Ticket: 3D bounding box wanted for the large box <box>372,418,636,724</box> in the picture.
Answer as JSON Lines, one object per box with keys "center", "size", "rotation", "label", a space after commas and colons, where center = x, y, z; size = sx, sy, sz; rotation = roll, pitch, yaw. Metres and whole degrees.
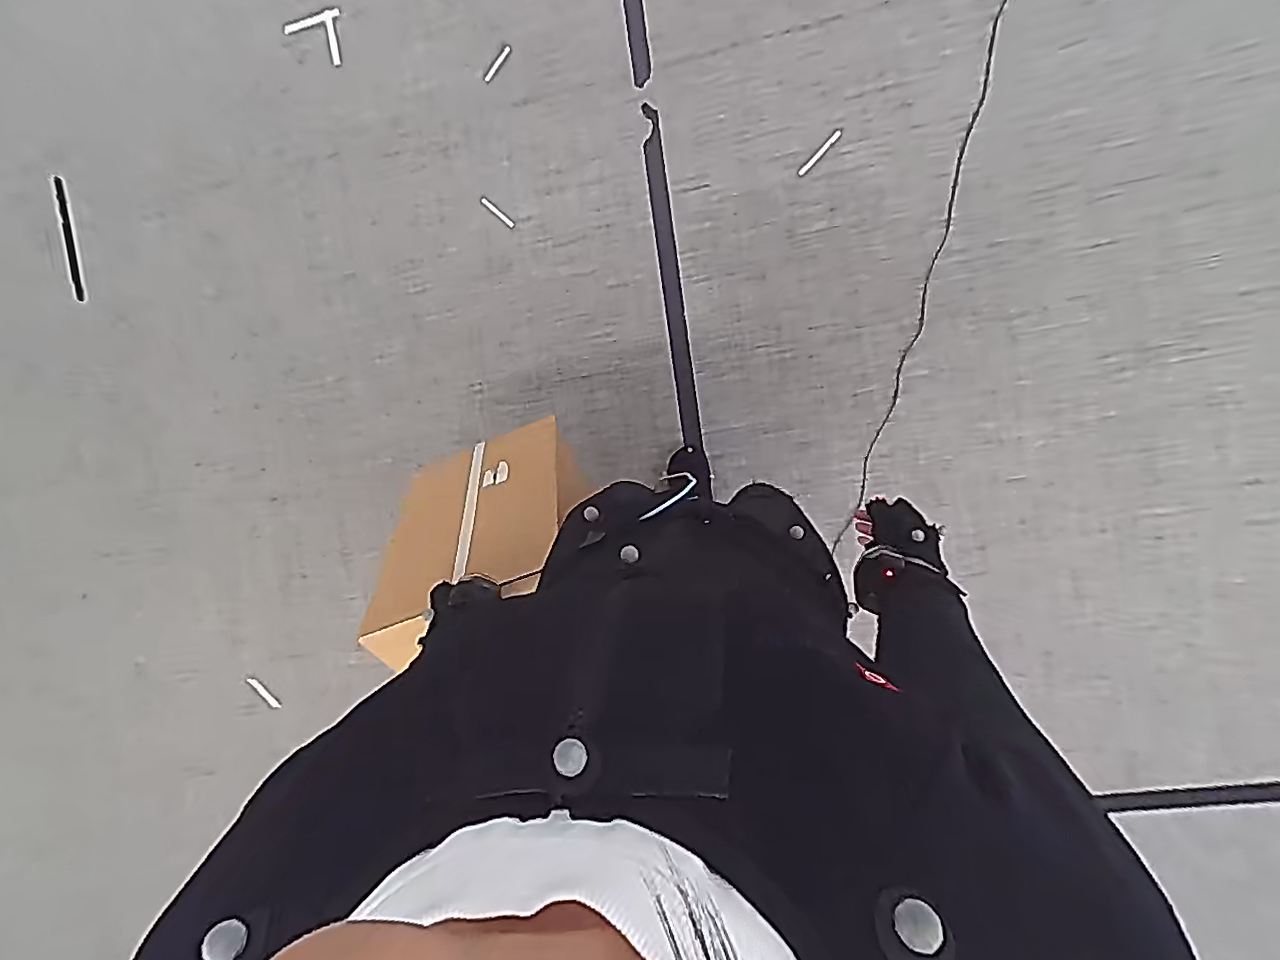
{"center": [-0.223, 0.156, 1.000], "size": [0.320, 0.408, 0.320], "rotation": [-20, 127, 5], "label": "large box"}
